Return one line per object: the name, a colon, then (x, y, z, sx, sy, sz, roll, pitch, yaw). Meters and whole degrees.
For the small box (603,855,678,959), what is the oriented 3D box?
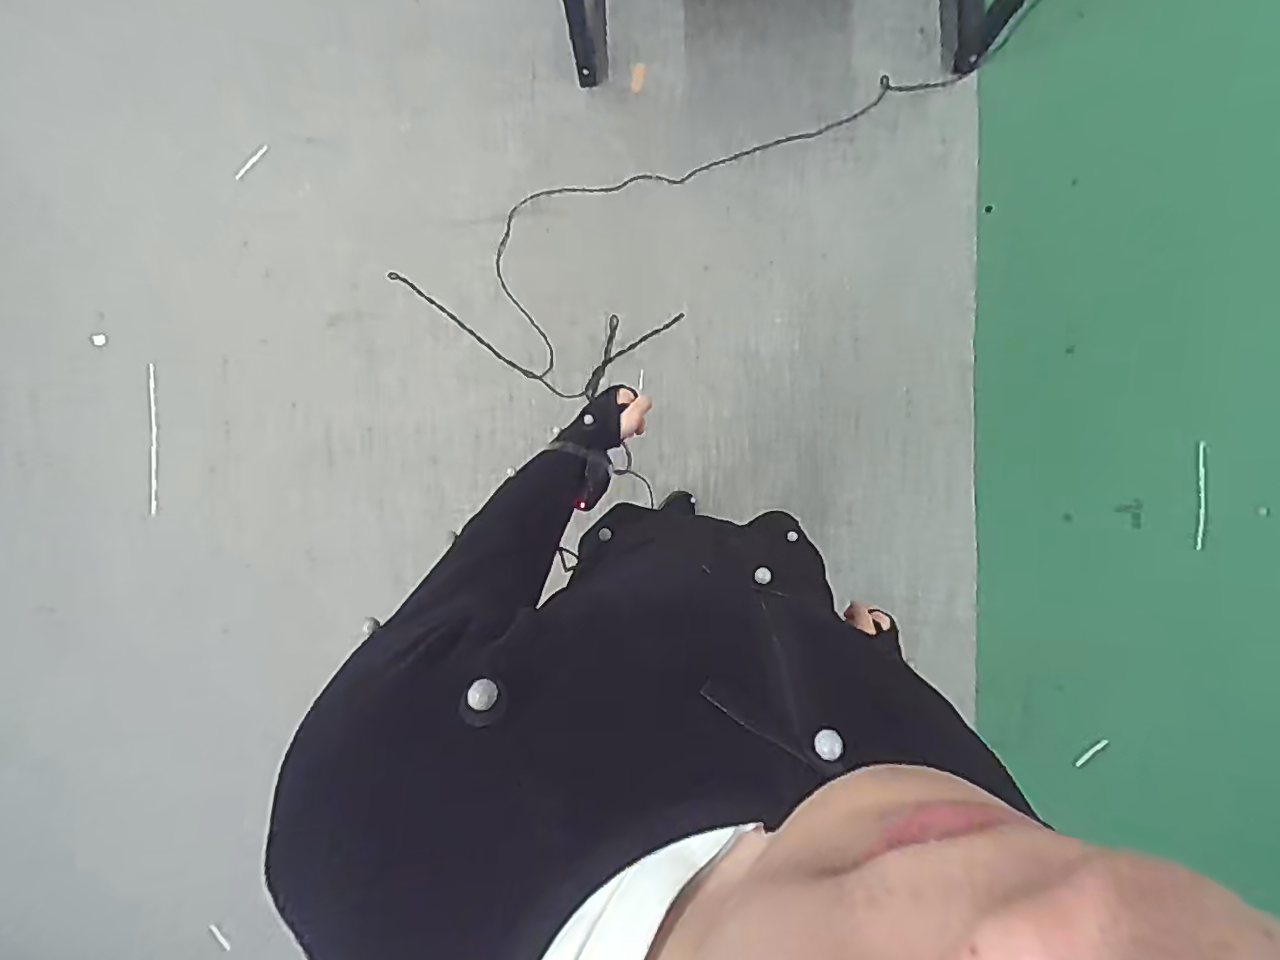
small box: (0.000, 1.068, 1.334, 0.168, 0.176, 0.179, 4, 90, 1)
